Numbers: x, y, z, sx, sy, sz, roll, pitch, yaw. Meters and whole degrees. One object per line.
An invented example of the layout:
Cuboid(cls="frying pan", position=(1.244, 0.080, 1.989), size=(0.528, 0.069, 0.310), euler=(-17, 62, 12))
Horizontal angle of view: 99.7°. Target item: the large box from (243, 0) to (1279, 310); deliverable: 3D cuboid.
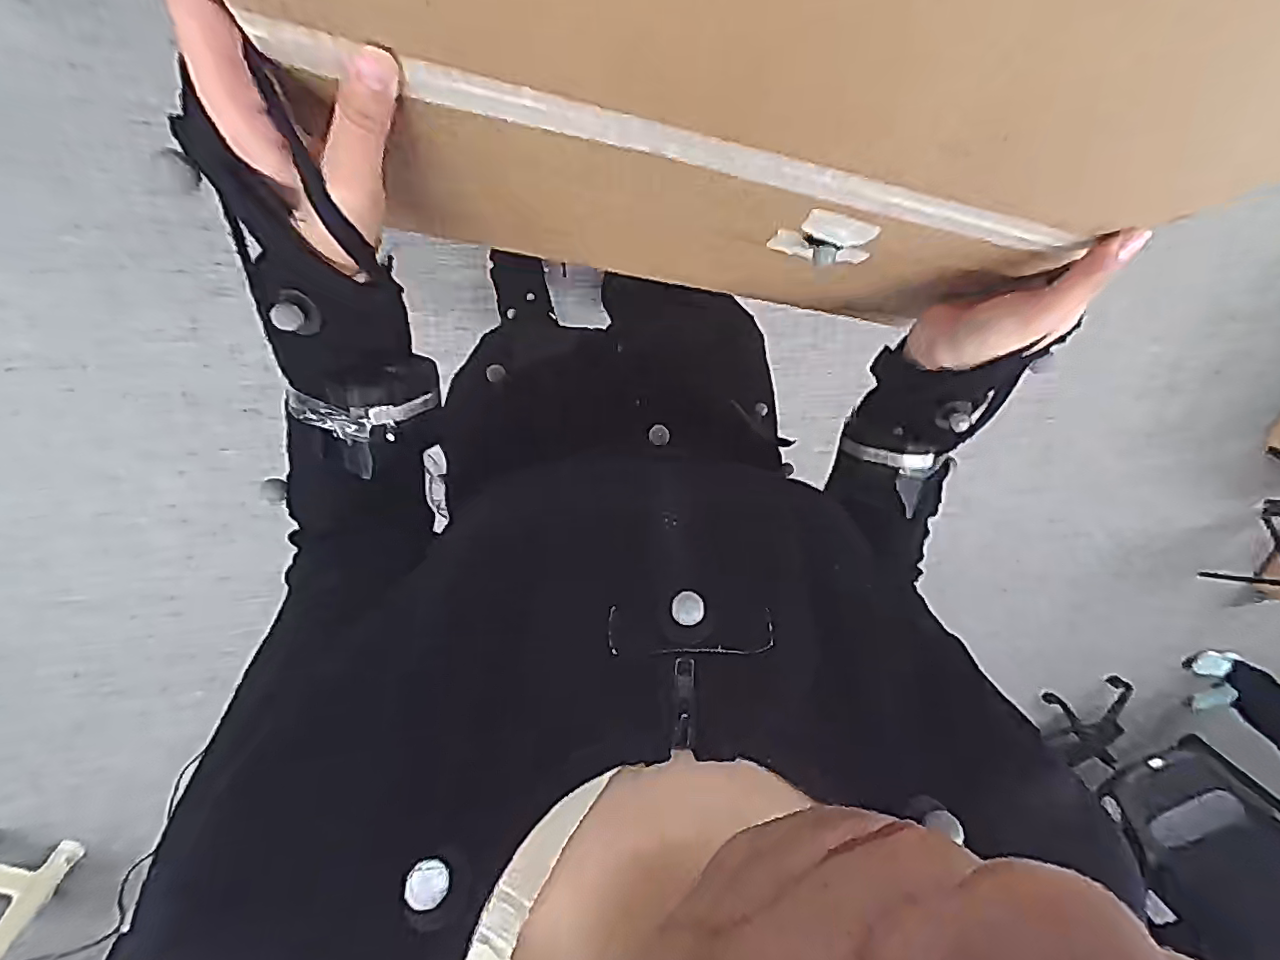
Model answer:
Cuboid(cls="large box", position=(0.057, -0.304, 0.248), size=(0.408, 0.320, 0.320), euler=(5, 90, -13))
